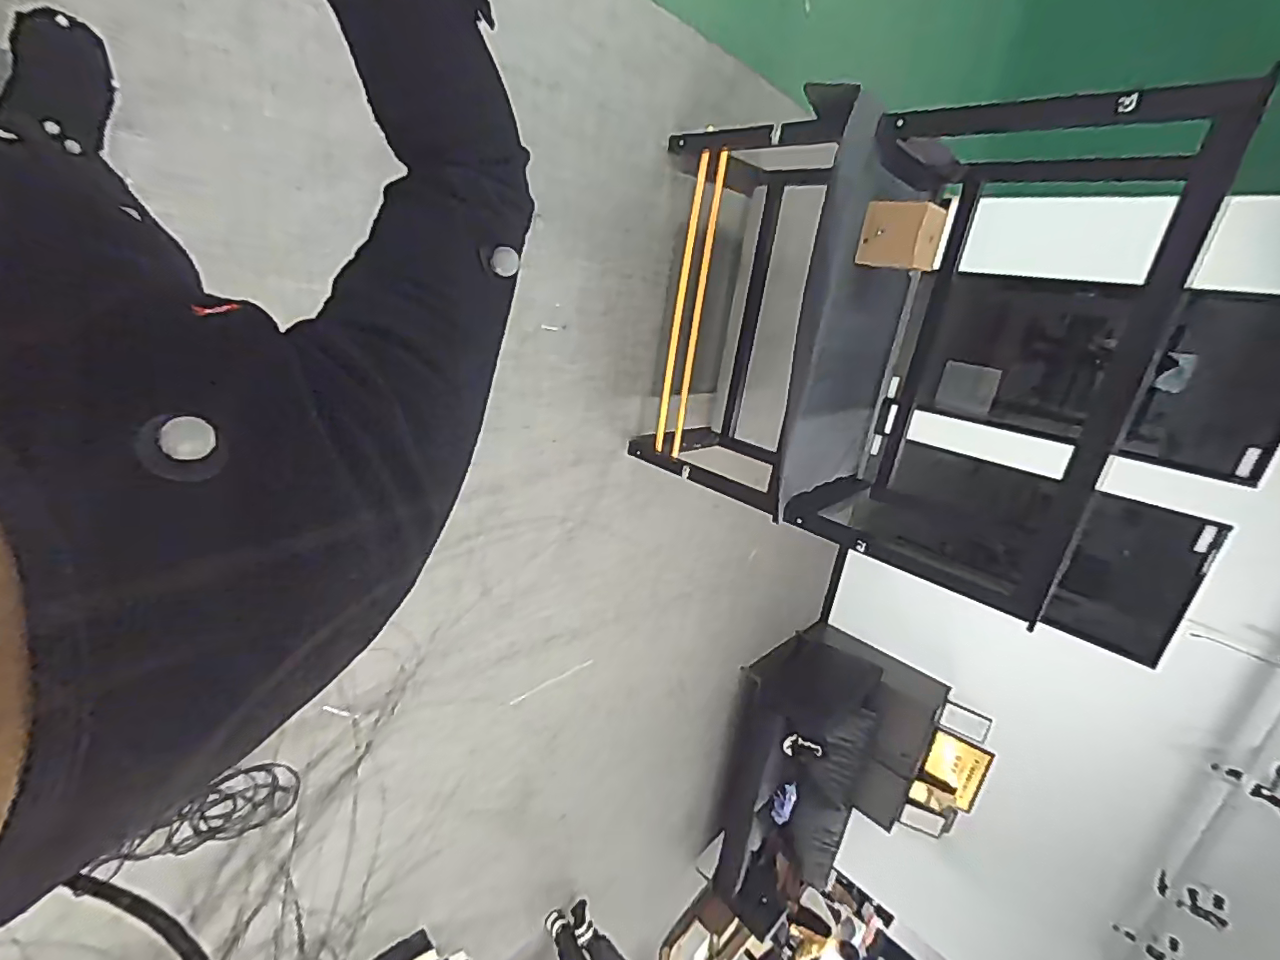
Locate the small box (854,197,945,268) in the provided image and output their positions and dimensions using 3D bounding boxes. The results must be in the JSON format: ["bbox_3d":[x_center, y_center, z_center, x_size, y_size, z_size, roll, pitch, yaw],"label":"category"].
[{"bbox_3d":[0.754,-0.721,1.575,0.179,0.176,0.168,-16,120,-44],"label":"small box"}]
